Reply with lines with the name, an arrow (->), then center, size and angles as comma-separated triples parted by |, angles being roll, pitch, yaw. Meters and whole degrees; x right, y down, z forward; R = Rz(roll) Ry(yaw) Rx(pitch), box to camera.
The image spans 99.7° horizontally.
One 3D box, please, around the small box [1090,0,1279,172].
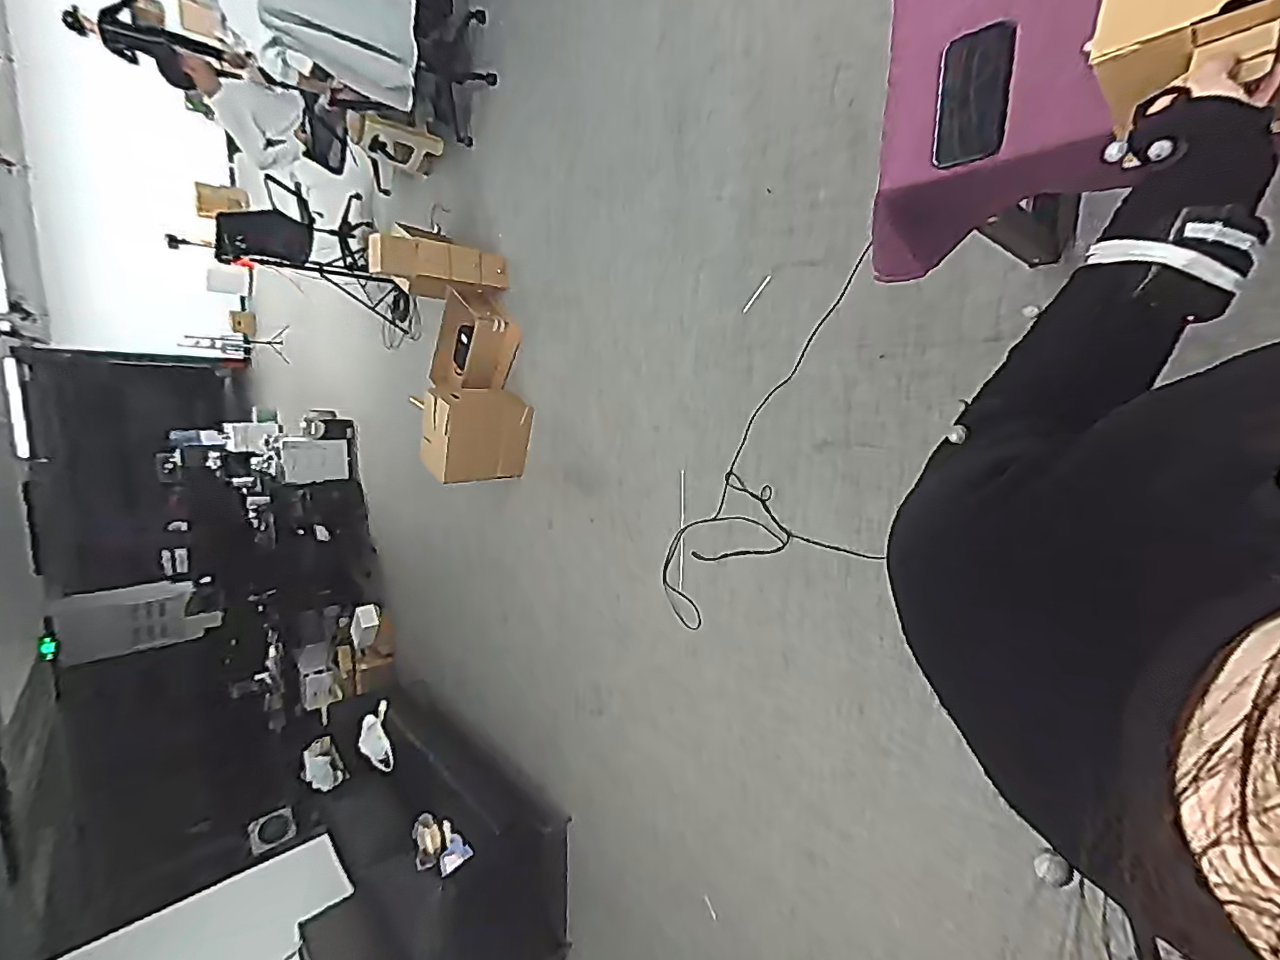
small box -> 0.507, -0.401, 0.447 | 0.168, 0.176, 0.179 | 12, 90, 49
